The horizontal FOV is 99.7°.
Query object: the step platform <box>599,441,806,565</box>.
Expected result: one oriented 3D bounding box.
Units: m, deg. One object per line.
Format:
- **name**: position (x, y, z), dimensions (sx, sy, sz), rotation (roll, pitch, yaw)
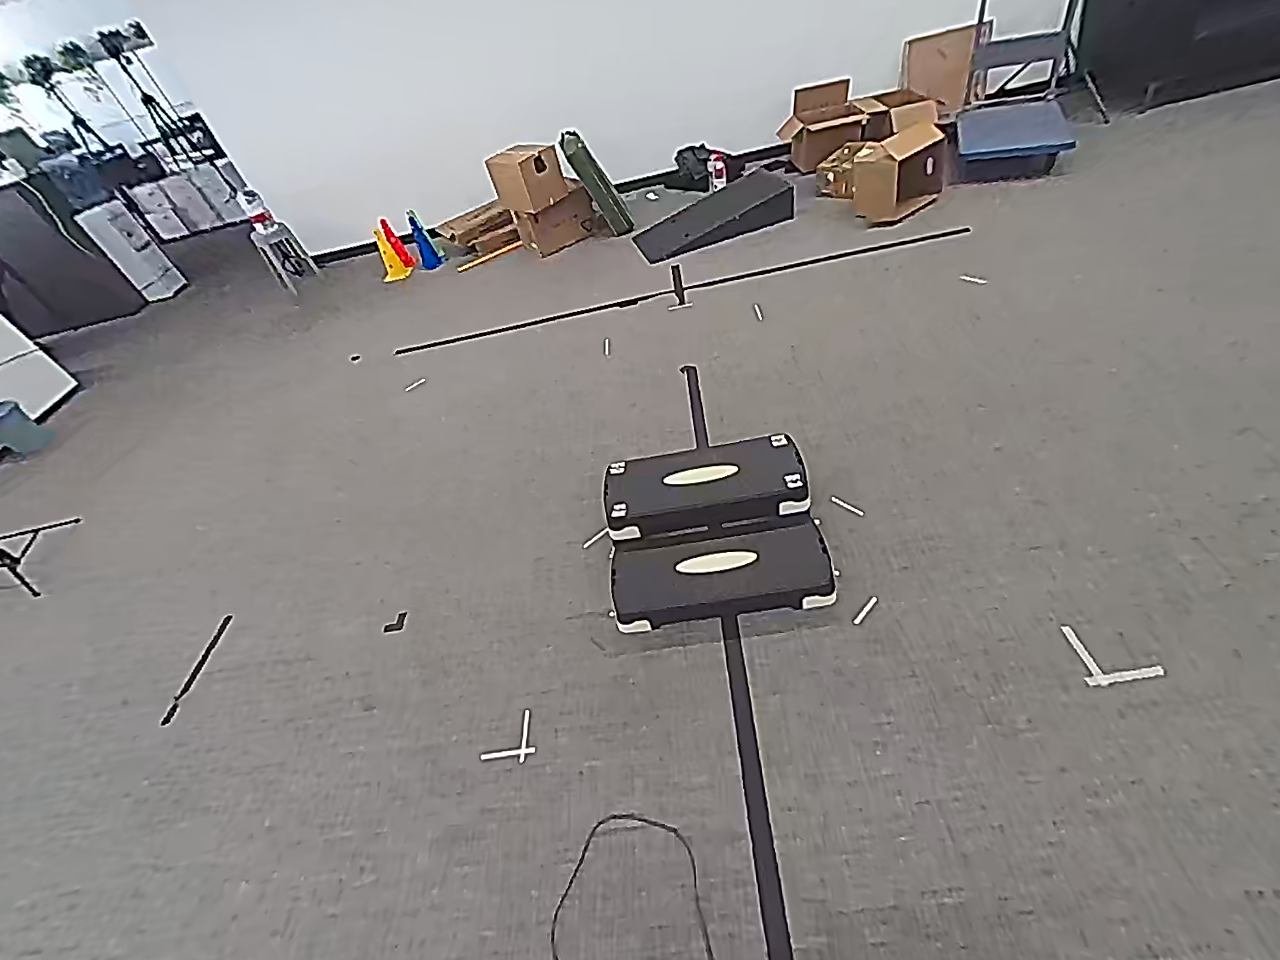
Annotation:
- **step platform**: position (0.201, 0.074, 1.836), dimensions (0.684, 0.204, 0.286), rotation (-10, 45, 5)
